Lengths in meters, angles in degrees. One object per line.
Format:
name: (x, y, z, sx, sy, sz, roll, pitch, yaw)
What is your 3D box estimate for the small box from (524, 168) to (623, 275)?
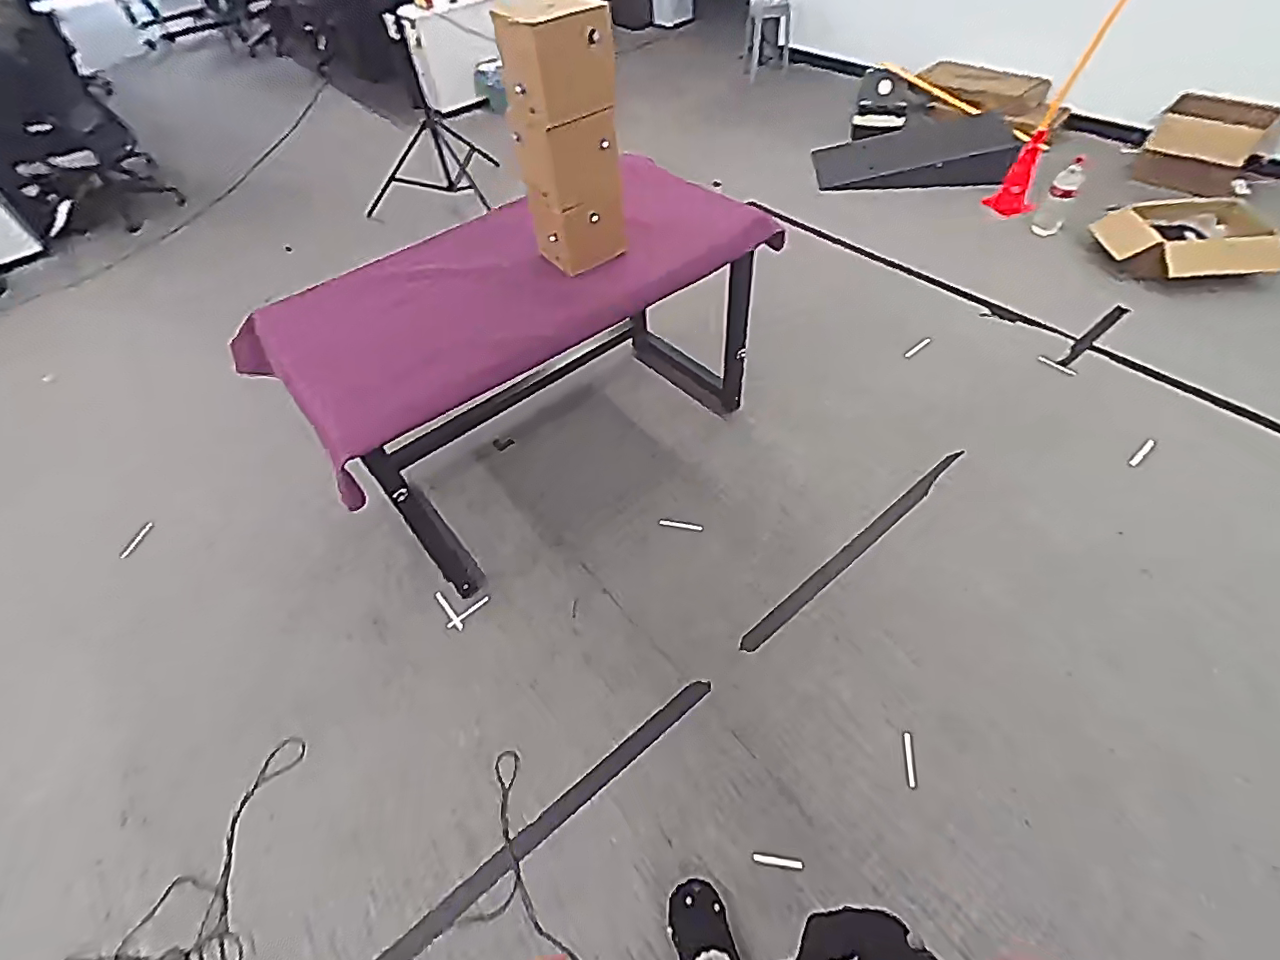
small box: (-0.159, -0.644, 1.354, 0.179, 0.176, 0.168, -33, 57, -20)

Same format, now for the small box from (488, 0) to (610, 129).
small box: (-0.174, -0.847, 1.095, 0.179, 0.176, 0.168, -34, 57, -19)
